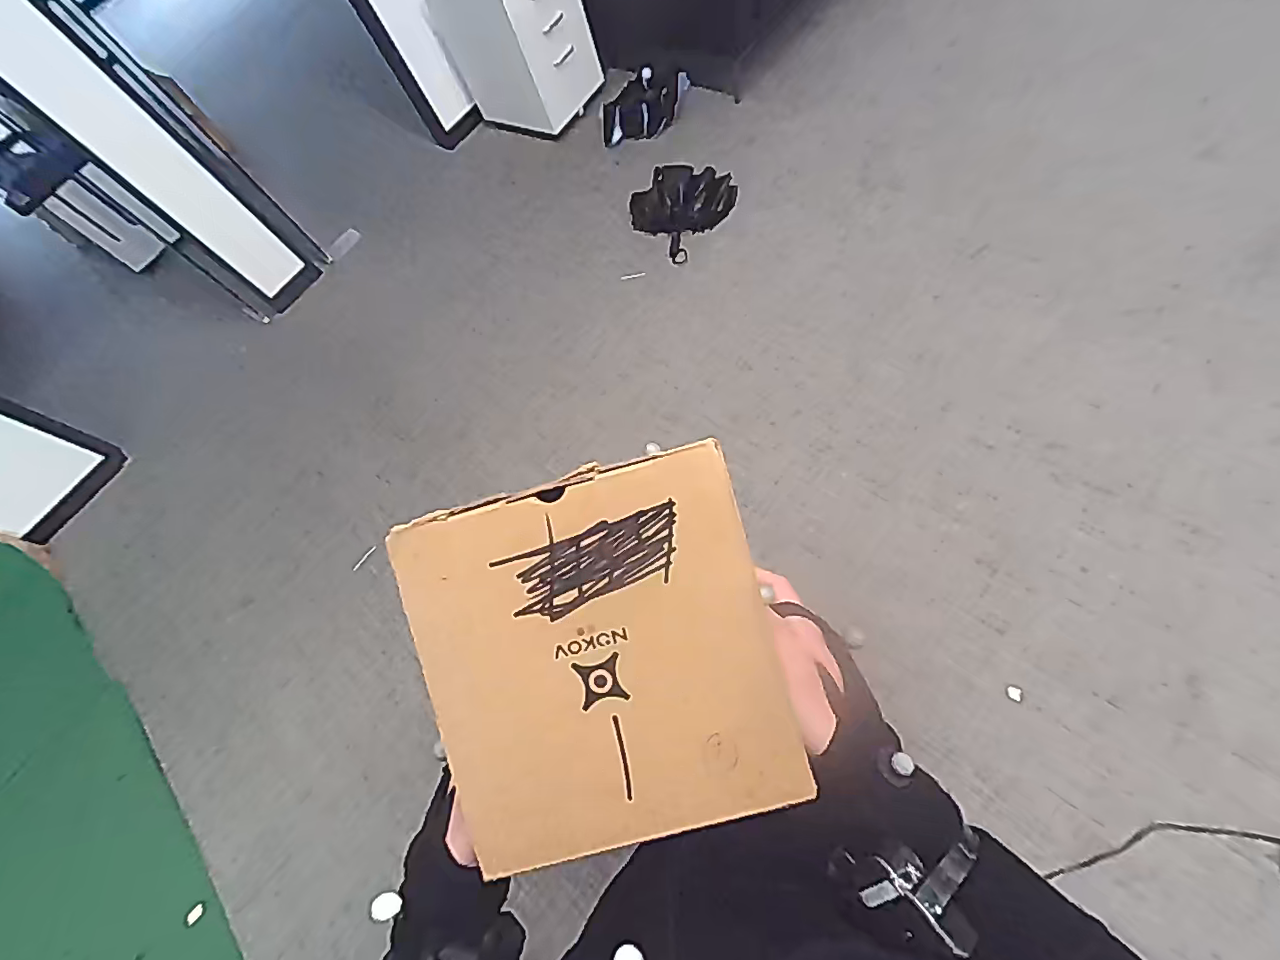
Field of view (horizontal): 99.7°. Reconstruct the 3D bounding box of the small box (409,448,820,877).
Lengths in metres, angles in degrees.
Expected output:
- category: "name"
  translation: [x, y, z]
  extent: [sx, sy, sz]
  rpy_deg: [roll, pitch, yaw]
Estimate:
- category: "small box"
  translation: [-0.011, 0.089, 0.340]
  extent: [0.168, 0.176, 0.179]
  rpy_deg: [-16, 90, 2]
